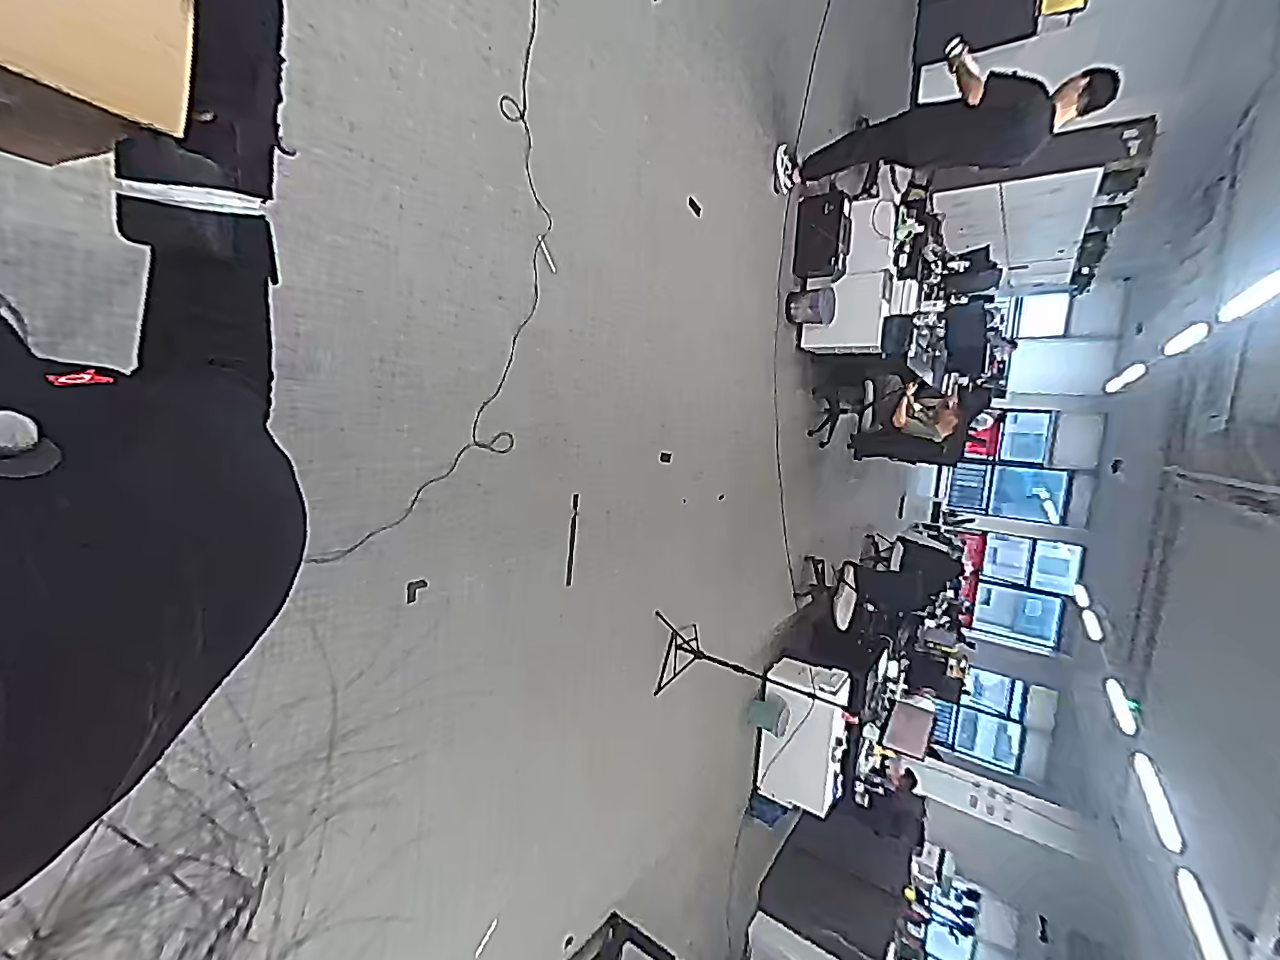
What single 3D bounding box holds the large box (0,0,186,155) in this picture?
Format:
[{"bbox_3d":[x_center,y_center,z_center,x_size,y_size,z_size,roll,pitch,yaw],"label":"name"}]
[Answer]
[{"bbox_3d":[-0.493,-0.397,0.228,0.408,0.320,0.320,-2,107,-59],"label":"large box"}]
